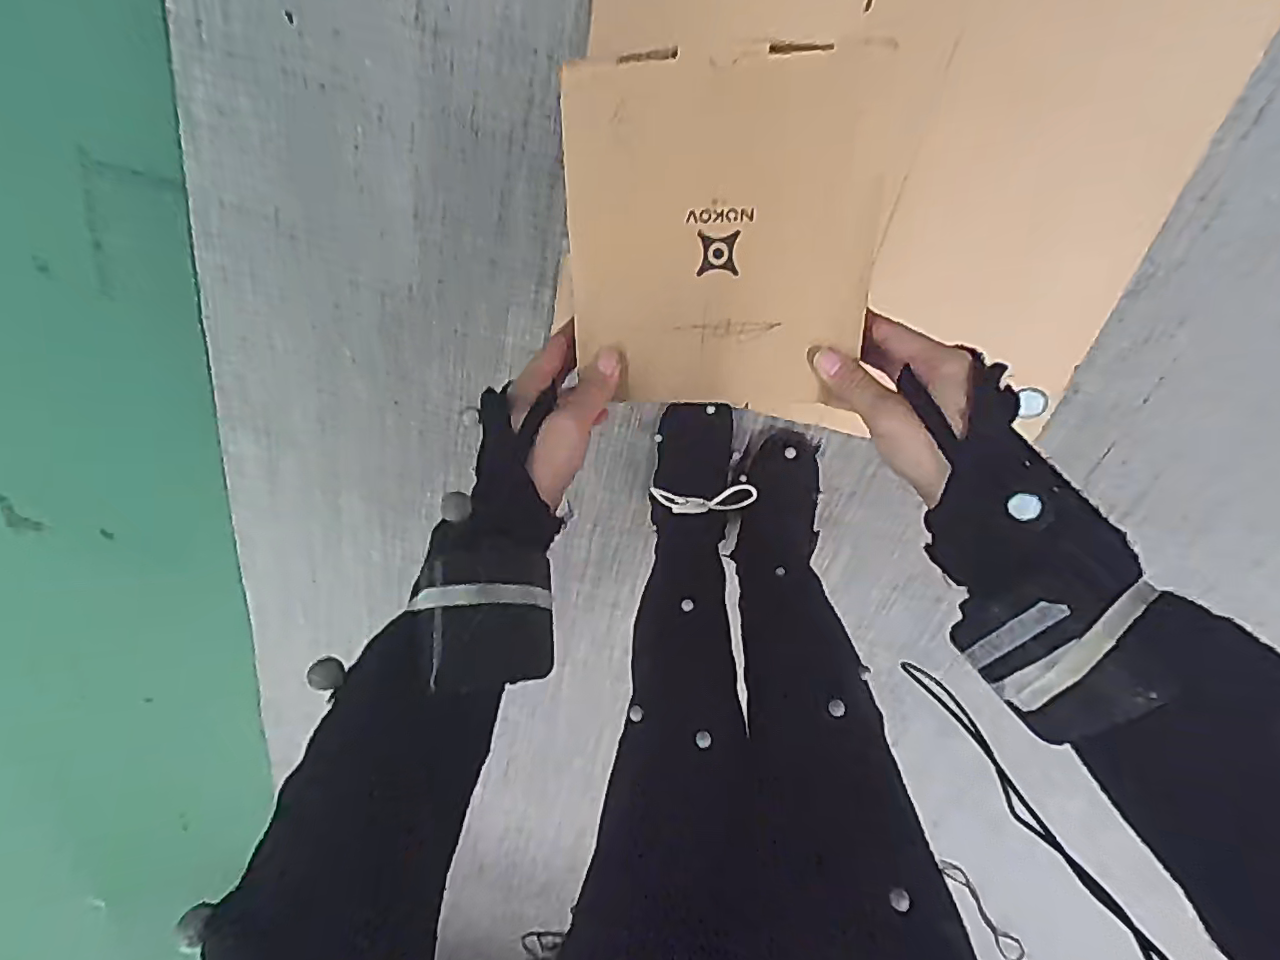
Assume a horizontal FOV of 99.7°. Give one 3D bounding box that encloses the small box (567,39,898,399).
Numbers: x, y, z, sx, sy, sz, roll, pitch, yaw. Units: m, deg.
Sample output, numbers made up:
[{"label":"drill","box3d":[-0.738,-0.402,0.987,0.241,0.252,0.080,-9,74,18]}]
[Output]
[{"label":"small box","box3d":[0.052,-0.161,0.368,0.168,0.176,0.179,2,113,7]}]
